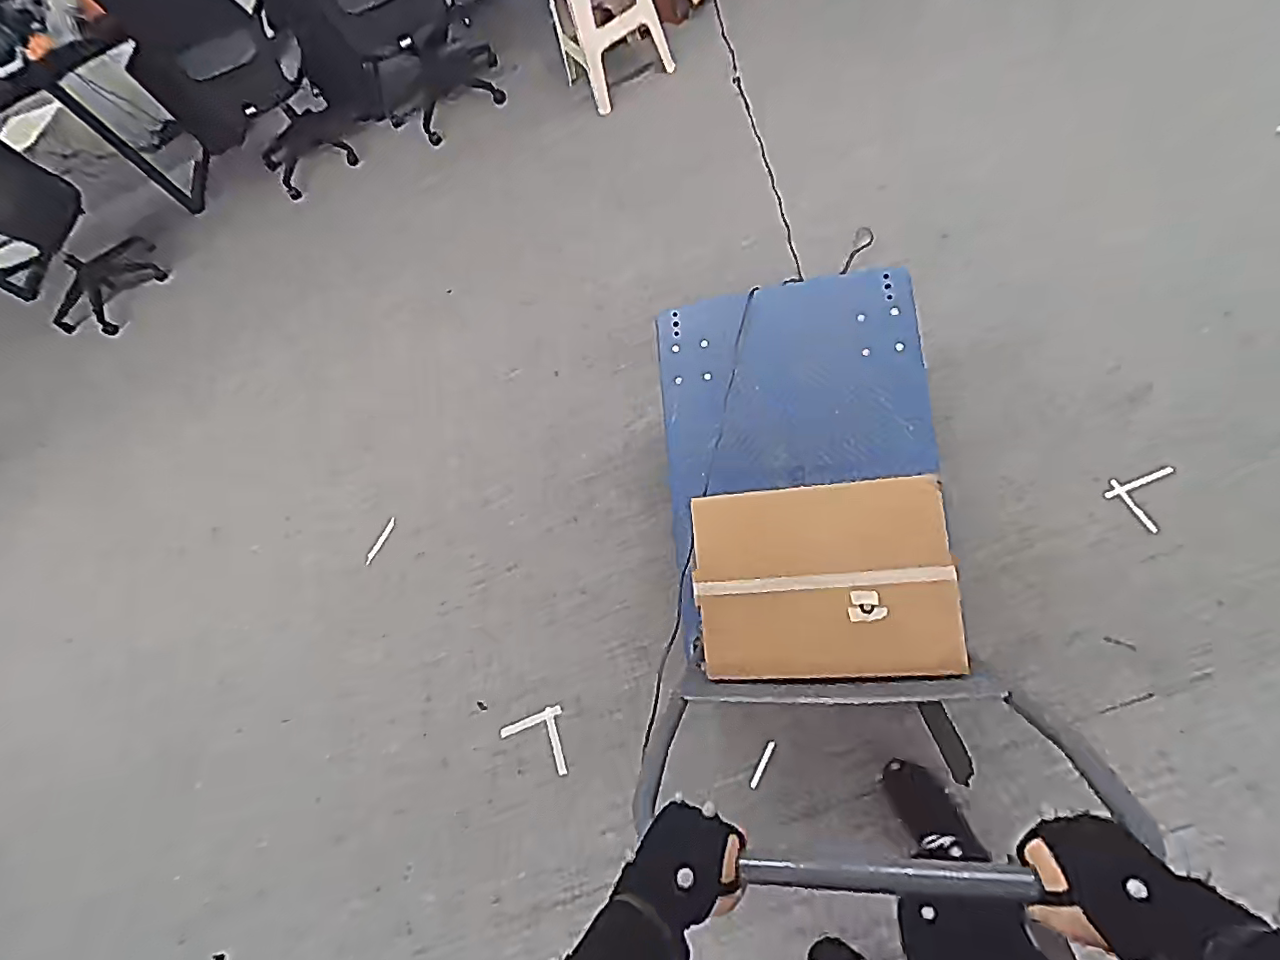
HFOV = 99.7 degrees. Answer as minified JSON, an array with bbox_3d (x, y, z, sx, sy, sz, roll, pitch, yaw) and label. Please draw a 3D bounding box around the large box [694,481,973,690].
[{"bbox_3d":[0.330,0.192,1.016,0.408,0.320,0.320,-6,83,13],"label":"large box"}]
